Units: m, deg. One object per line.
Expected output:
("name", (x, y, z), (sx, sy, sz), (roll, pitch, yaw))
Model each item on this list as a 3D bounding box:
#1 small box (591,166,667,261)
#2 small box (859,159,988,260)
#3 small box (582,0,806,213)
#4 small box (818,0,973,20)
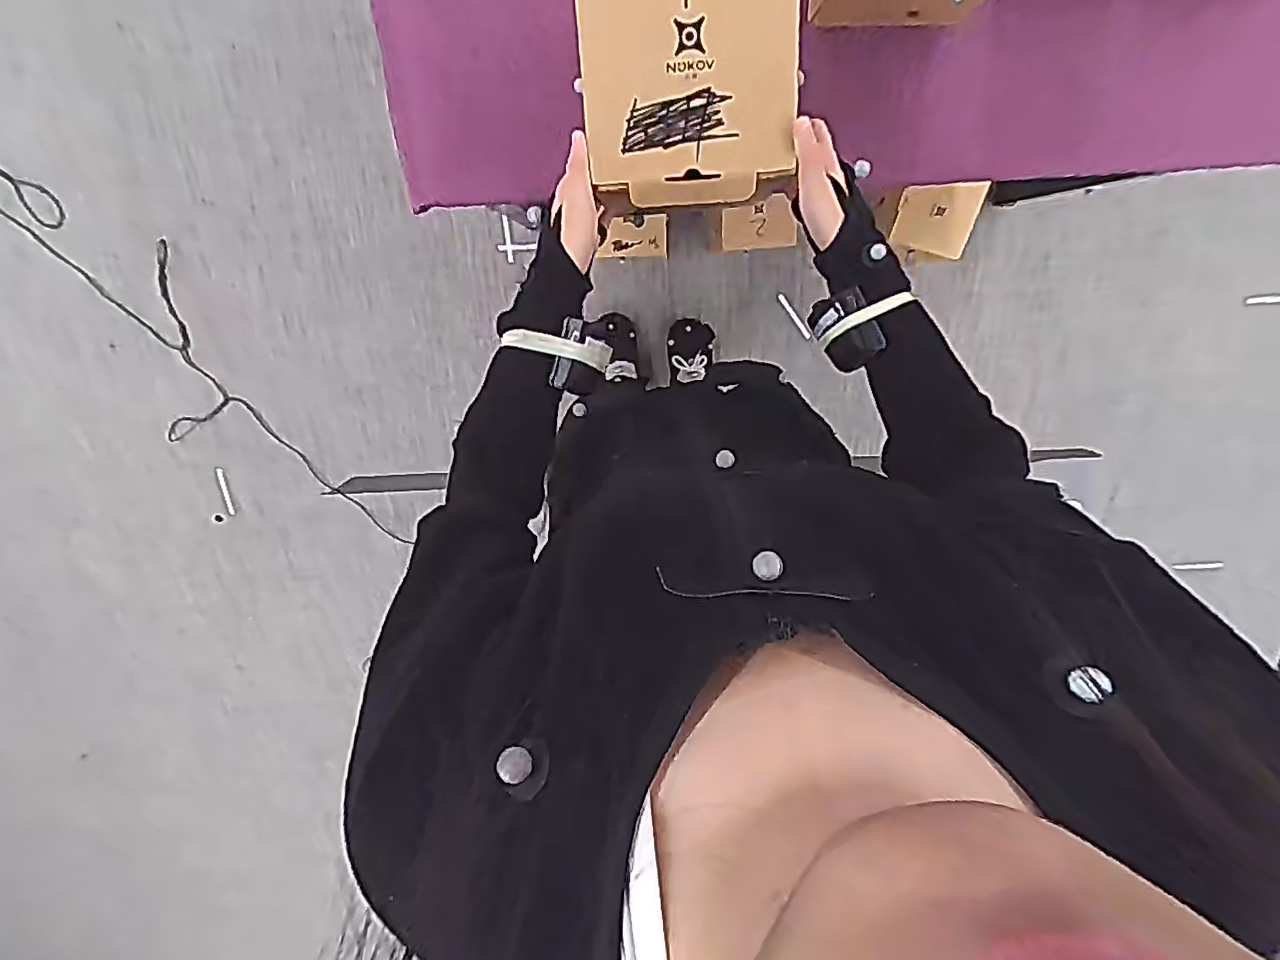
("small box", (-0.027, -0.601, 1.235), (0.168, 0.176, 0.179), (-1, 109, -2))
("small box", (0.646, -0.618, 1.253), (0.179, 0.176, 0.168), (13, 110, -6))
("small box", (0.043, -0.344, 0.479), (0.168, 0.176, 0.179), (-4, 108, 2))
("small box", (0.265, -0.553, 0.486), (0.168, 0.176, 0.179), (-3, 108, -2))
